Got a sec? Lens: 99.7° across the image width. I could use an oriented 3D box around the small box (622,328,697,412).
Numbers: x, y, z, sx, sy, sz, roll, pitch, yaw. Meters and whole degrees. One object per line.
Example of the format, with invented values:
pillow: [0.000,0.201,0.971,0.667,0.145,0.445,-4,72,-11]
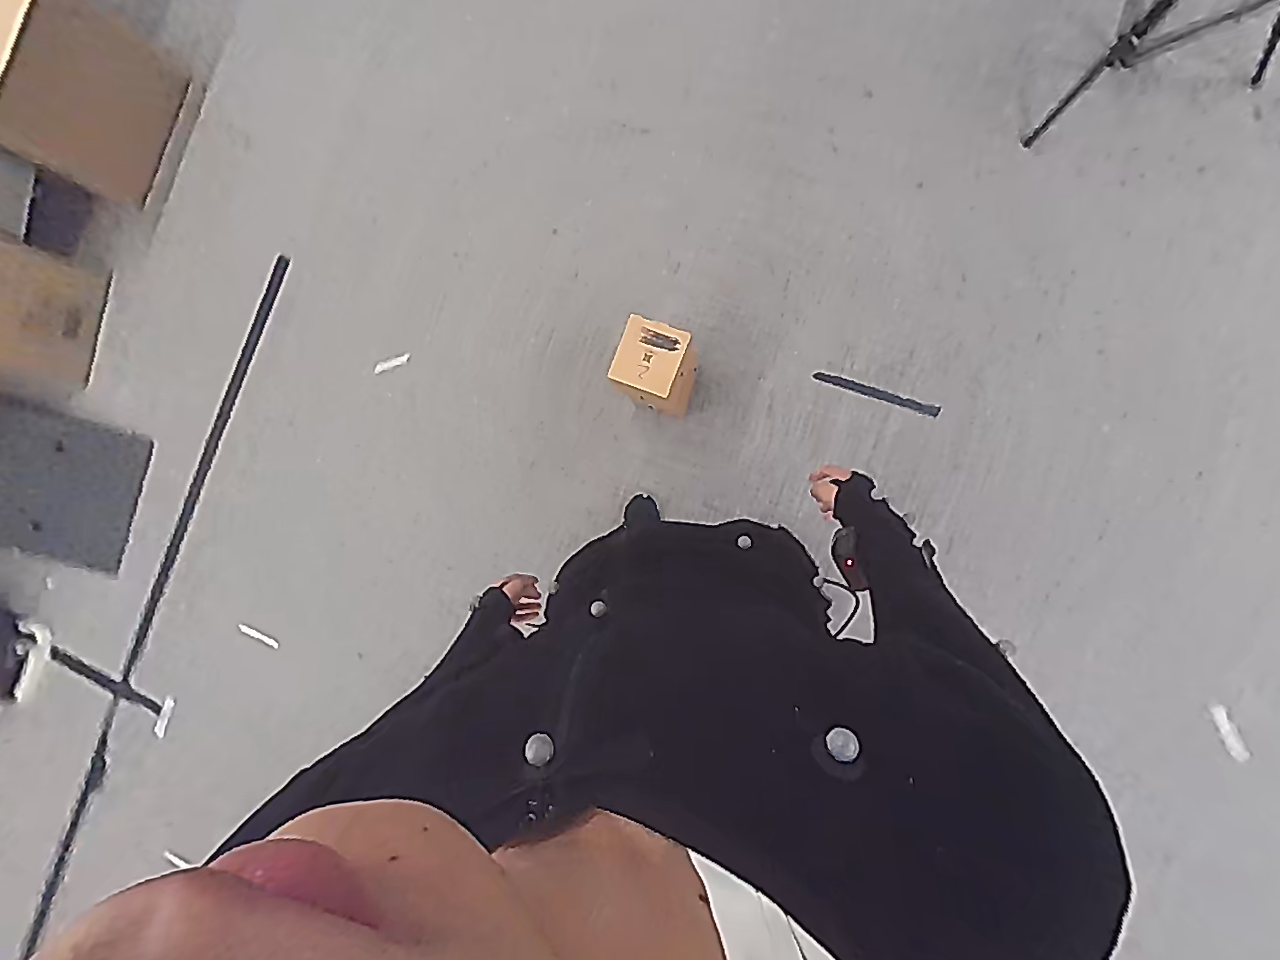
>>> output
small box: [0.063,-0.315,1.578,0.168,0.176,0.179,19,90,9]
